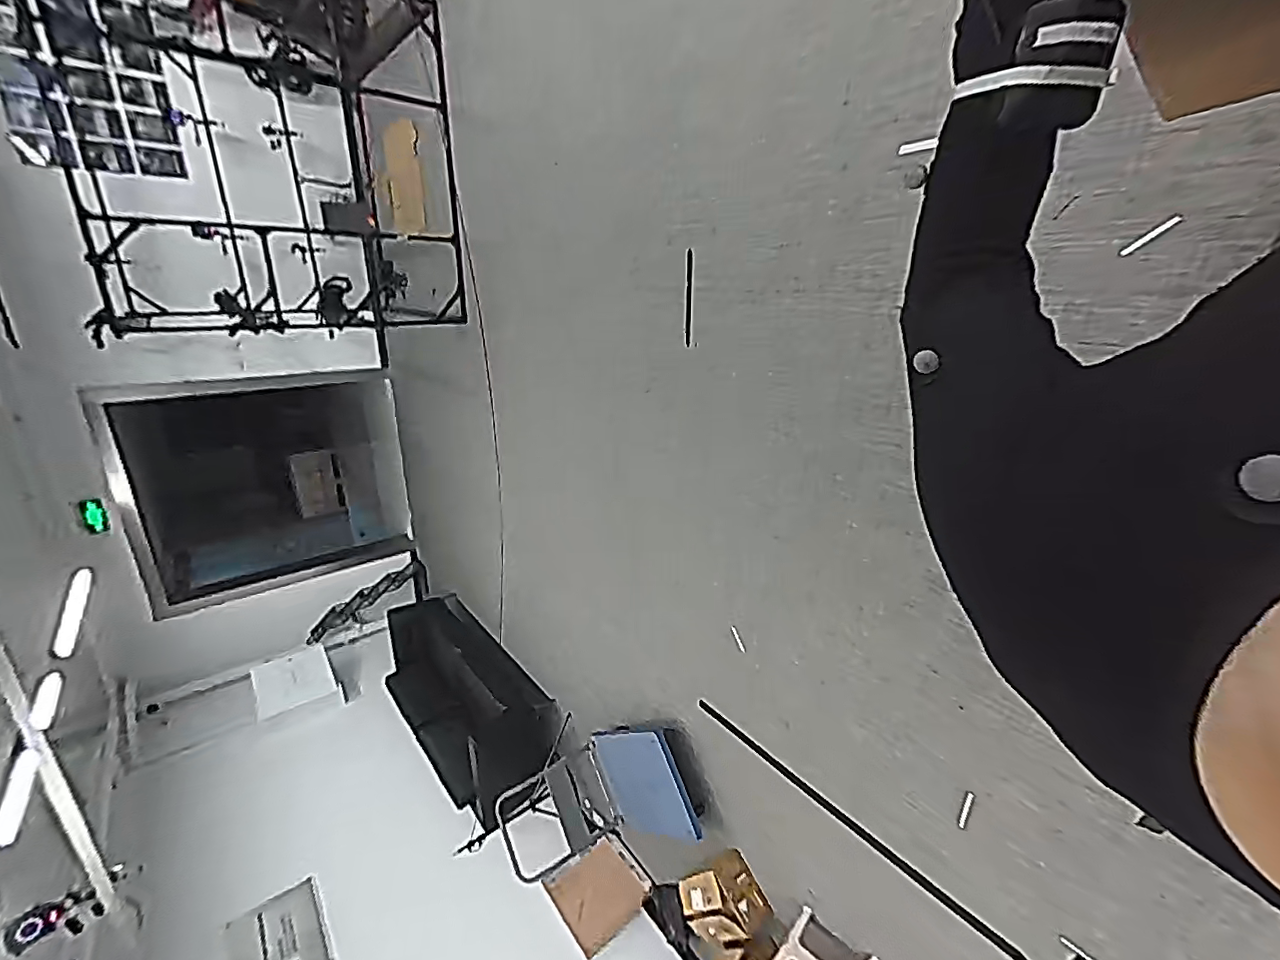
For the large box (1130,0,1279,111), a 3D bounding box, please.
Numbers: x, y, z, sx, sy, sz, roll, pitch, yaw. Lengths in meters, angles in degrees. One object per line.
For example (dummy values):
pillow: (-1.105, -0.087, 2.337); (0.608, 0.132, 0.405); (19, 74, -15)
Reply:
large box: (0.508, -0.452, 0.240); (0.408, 0.320, 0.320); (11, 105, 48)
